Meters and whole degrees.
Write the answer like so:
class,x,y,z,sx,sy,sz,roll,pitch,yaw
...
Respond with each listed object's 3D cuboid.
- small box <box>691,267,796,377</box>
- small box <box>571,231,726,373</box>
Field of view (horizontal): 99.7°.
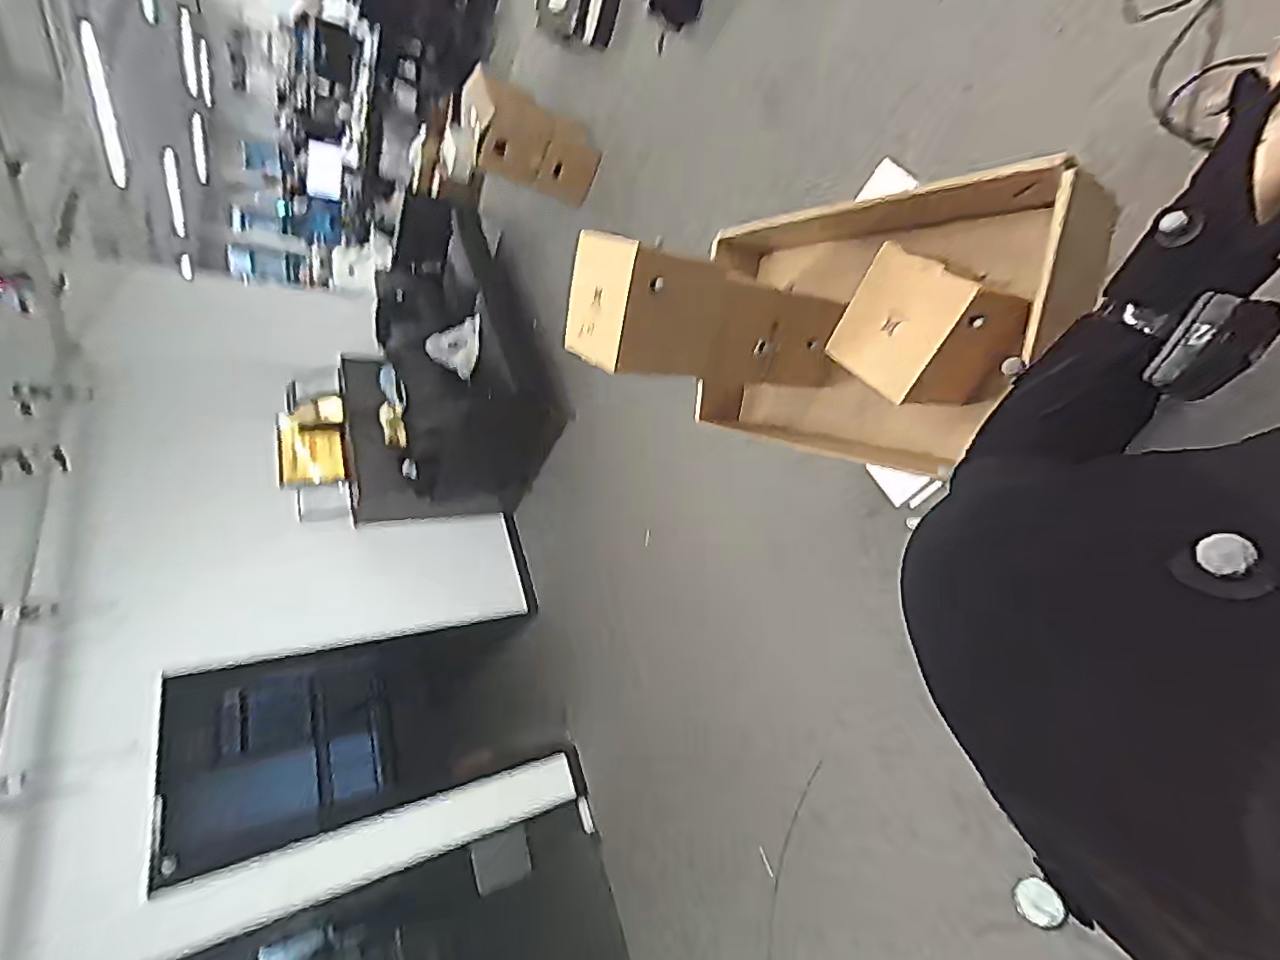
class,x,y,z,sx,sy,sz,roll,pitch,yaw
small box,0.138,-0.285,0.959,0.179,0.176,0.168,42,127,44
small box,0.012,-0.276,0.852,0.168,0.176,0.179,39,125,48
